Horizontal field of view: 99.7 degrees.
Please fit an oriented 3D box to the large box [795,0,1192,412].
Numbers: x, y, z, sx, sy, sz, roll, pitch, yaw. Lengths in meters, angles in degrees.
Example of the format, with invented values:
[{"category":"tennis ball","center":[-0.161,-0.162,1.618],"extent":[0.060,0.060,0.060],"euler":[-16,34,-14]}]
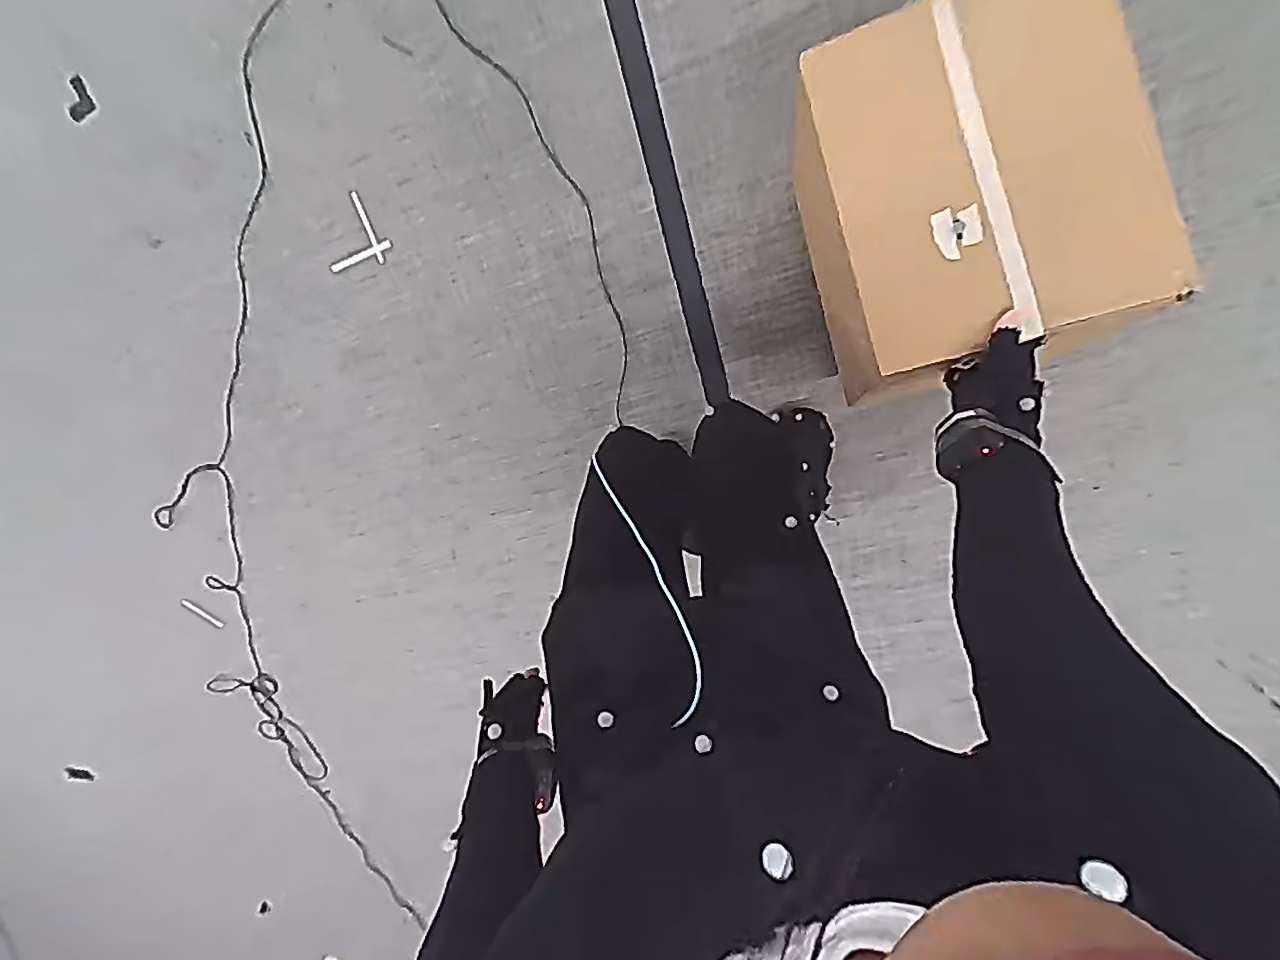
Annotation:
[{"category":"large box","center":[0.420,-0.343,0.755],"extent":[0.320,0.320,0.408],"euler":[-14,85,16]}]
